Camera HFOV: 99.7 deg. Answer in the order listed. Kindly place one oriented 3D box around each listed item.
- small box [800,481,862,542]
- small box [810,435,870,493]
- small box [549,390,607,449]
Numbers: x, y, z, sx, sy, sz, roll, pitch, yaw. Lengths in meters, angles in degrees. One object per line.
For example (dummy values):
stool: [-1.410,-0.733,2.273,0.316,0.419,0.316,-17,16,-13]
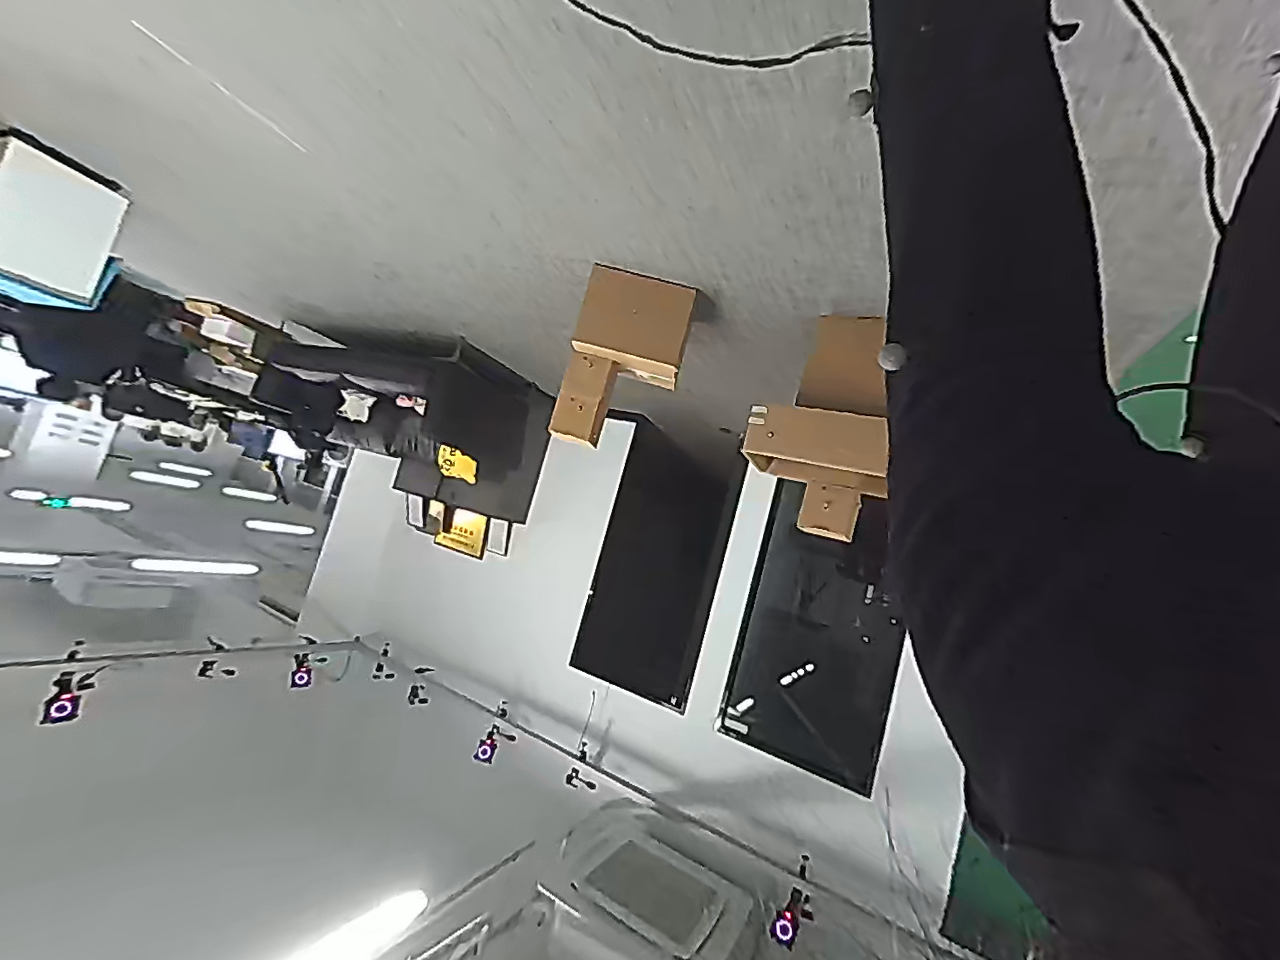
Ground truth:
small box: [0.674,0.108,1.901,0.168,0.176,0.179,13,172,29]
small box: [0.715,-0.049,1.922,0.168,0.176,0.179,12,172,27]
small box: [-0.238,-0.237,2.135,0.168,0.176,0.179,15,174,8]
